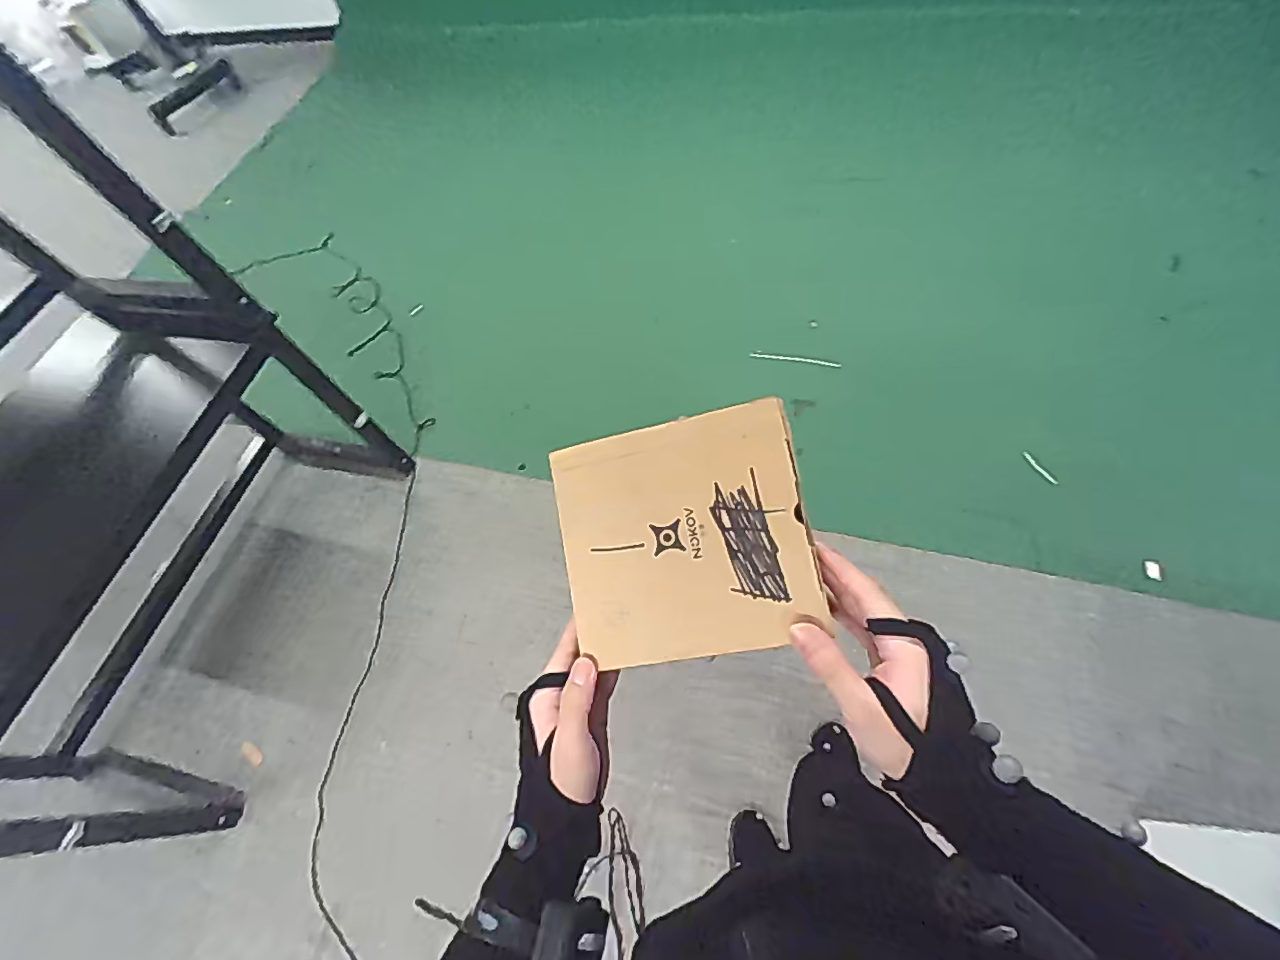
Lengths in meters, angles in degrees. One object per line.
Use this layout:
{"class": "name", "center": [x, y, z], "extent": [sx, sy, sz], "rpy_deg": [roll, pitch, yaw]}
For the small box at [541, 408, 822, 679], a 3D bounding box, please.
{"class": "small box", "center": [0.040, 0.054, 0.454], "extent": [0.179, 0.176, 0.168], "rpy_deg": [-13, 80, 13]}
